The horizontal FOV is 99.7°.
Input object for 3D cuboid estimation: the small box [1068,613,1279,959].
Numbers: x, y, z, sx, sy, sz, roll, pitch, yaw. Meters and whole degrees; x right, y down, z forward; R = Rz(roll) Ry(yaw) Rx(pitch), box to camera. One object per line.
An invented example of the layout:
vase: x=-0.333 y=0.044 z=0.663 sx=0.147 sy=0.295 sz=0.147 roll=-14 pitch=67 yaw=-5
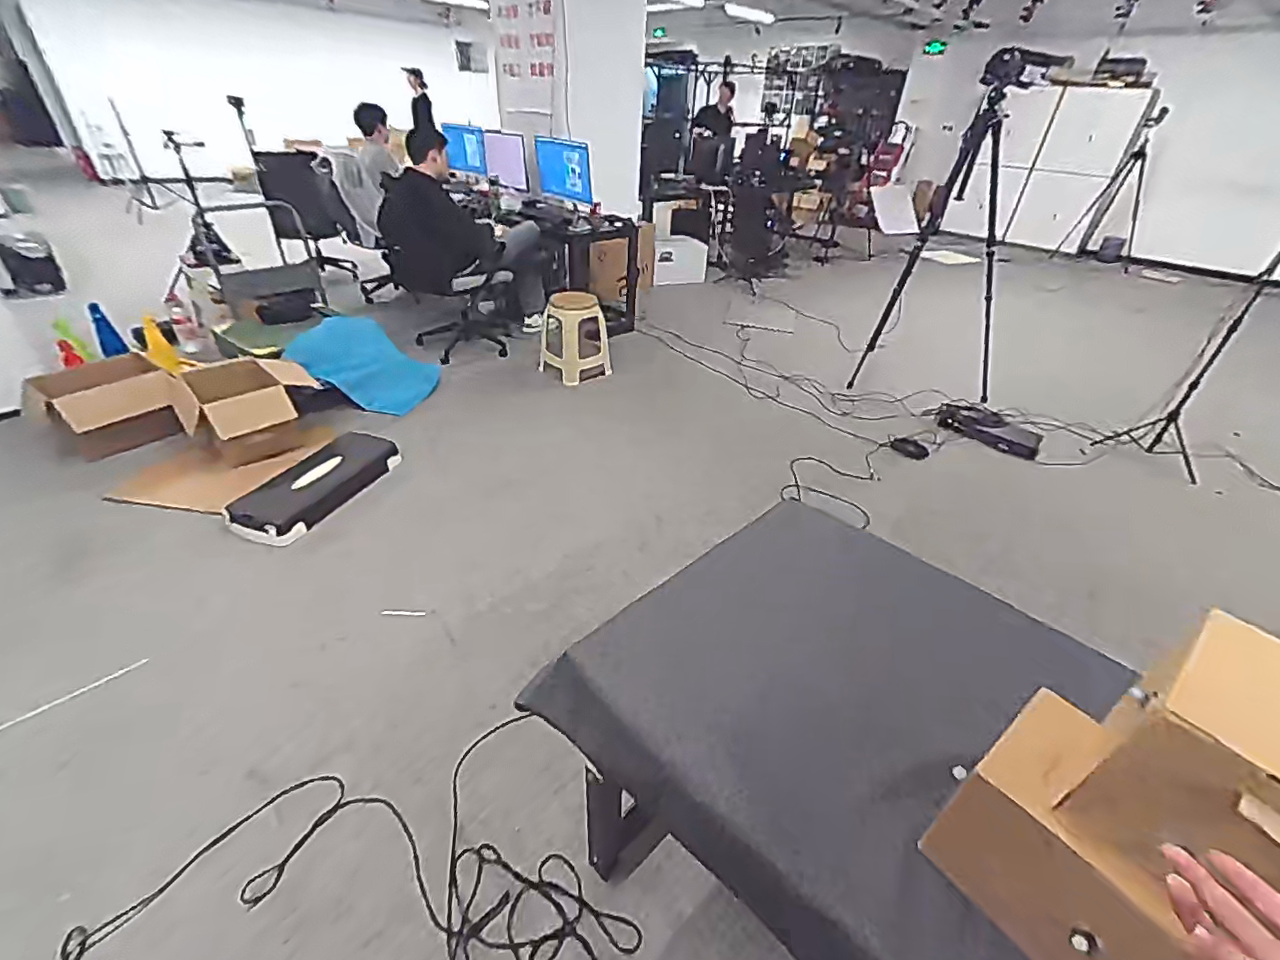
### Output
small box: x=0.494 y=0.248 z=0.433 sx=0.179 sy=0.176 sz=0.168 roll=-22 pitch=42 yaw=-32

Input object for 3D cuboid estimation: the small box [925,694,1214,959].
small box: x=0.431 y=0.365 z=0.543 sx=0.168 sy=0.176 sz=0.179 roll=-20 pitch=39 yaw=-32
